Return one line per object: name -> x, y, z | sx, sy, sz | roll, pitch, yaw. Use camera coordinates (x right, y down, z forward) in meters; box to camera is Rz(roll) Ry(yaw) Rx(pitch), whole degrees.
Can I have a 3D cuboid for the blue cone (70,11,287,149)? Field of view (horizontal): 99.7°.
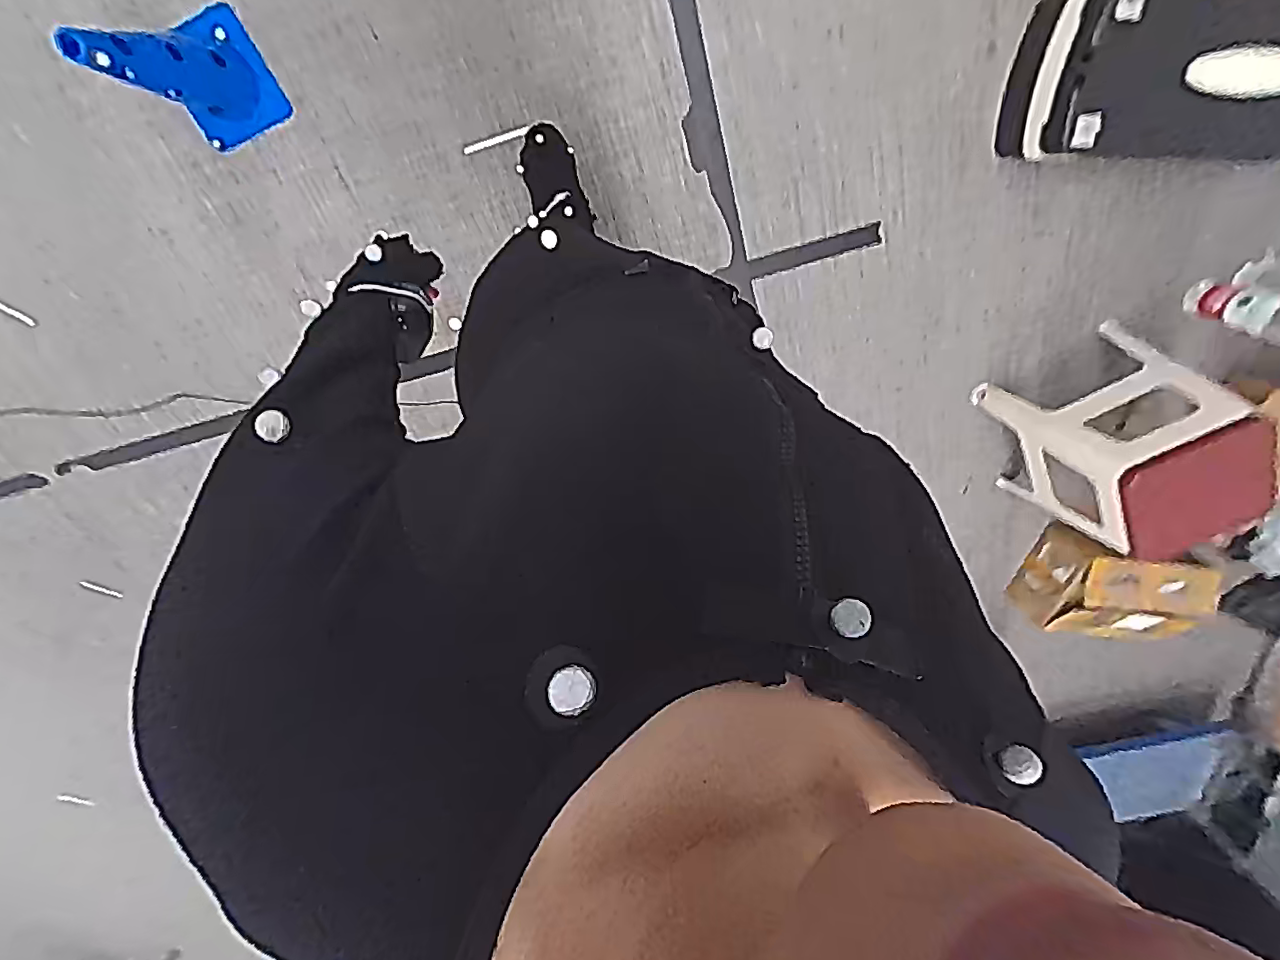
blue cone -> -0.827, -0.718, 0.943 | 0.193, 0.380, 0.192 | -20, 120, 8
